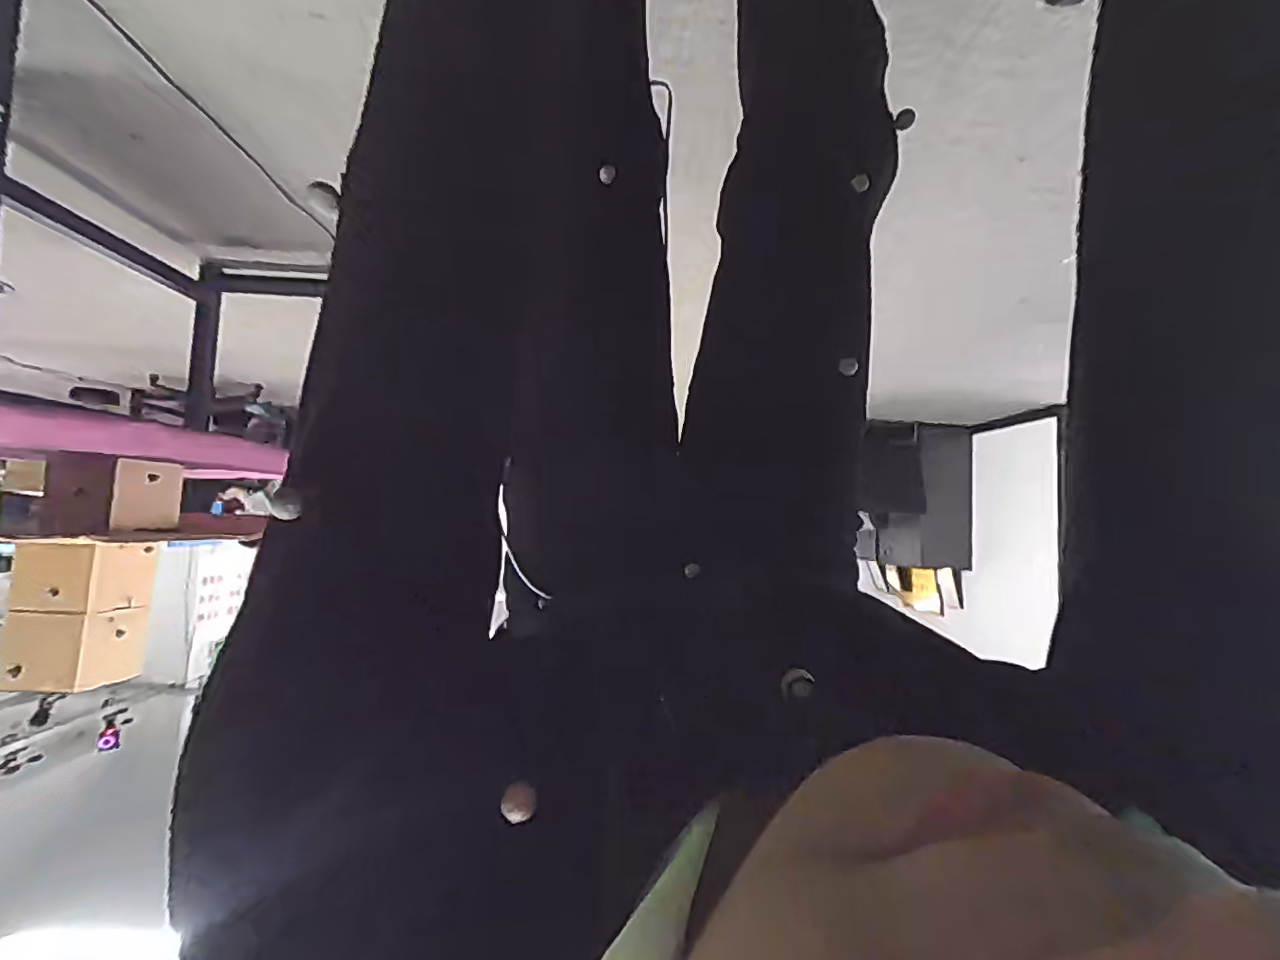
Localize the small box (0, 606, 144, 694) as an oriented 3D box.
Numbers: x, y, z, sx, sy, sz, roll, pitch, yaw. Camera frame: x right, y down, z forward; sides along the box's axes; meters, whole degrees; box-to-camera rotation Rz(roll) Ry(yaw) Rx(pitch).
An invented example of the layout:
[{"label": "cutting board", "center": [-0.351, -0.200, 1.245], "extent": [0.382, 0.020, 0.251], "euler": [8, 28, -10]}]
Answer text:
[{"label": "small box", "center": [-1.271, 0.370, 1.214], "extent": [0.179, 0.176, 0.168], "euler": [2, 174, 0]}]

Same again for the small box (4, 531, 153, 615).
[{"label": "small box", "center": [-1.261, 0.206, 1.230], "extent": [0.179, 0.176, 0.168], "euler": [3, 173, 0]}]
